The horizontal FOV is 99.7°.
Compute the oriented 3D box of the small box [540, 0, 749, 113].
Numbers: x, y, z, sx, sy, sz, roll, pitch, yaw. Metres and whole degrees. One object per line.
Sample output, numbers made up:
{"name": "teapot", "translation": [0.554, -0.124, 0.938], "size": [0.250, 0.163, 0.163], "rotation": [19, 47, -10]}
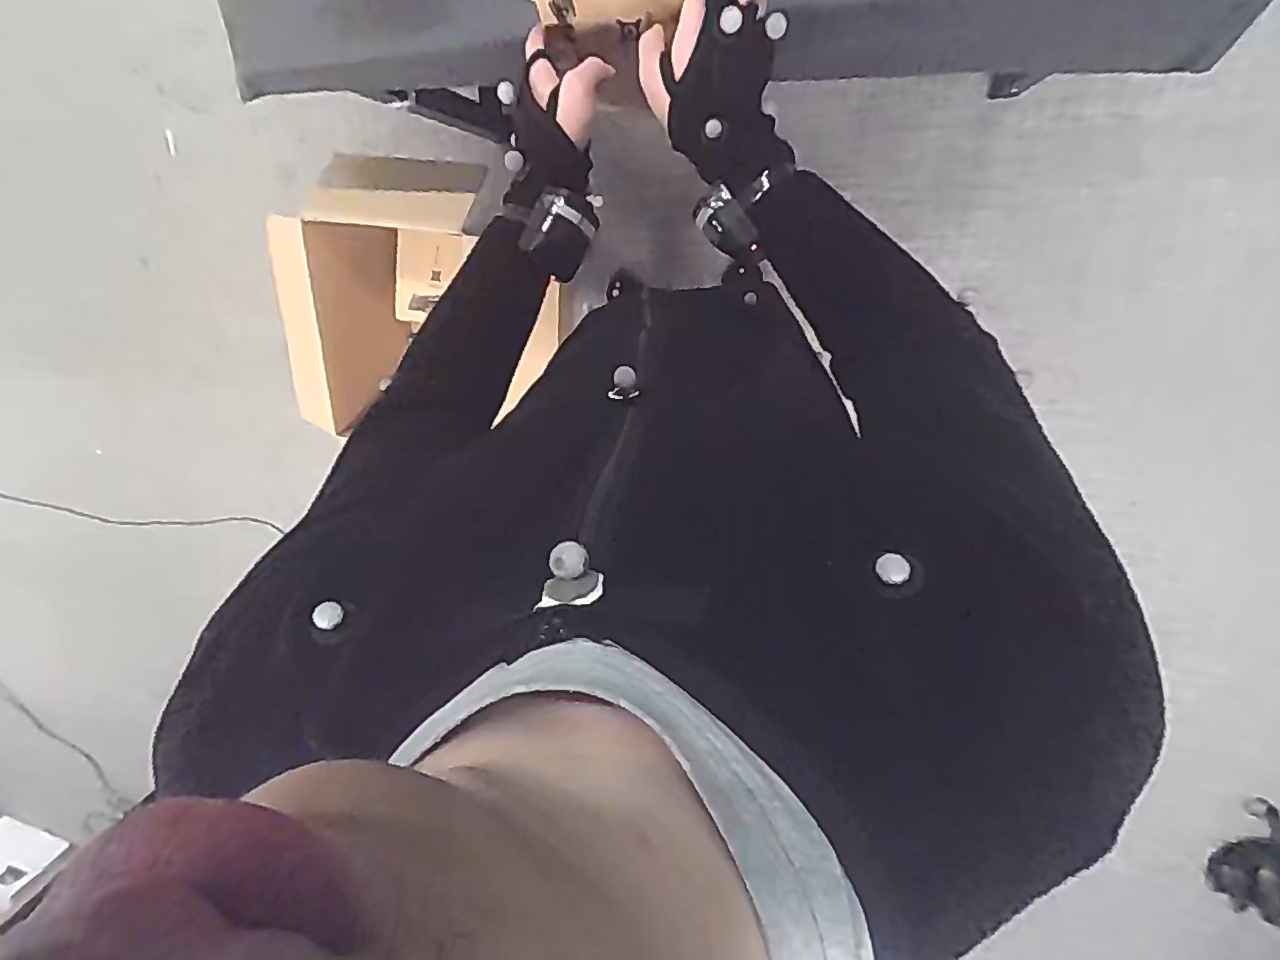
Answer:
{"name": "small box", "translation": [0.012, -0.469, 0.482], "size": [0.179, 0.168, 0.176], "rotation": [5, 80, 8]}
